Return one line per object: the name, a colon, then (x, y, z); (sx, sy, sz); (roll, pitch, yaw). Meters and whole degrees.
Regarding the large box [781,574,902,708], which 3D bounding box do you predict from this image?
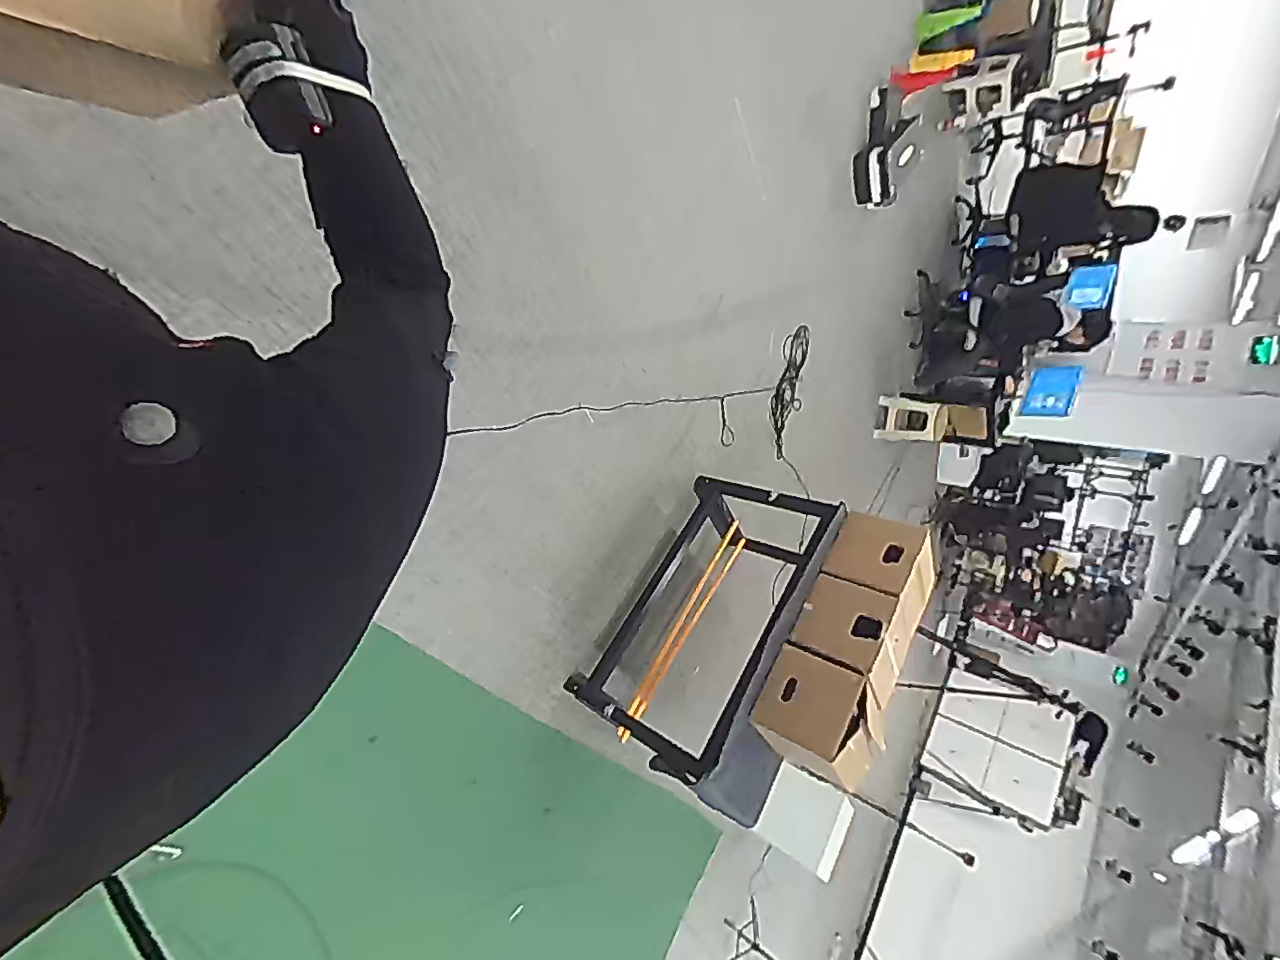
large box: (0.801, 0.629, 2.126); (0.320, 0.320, 0.408); (-57, 136, -22)
